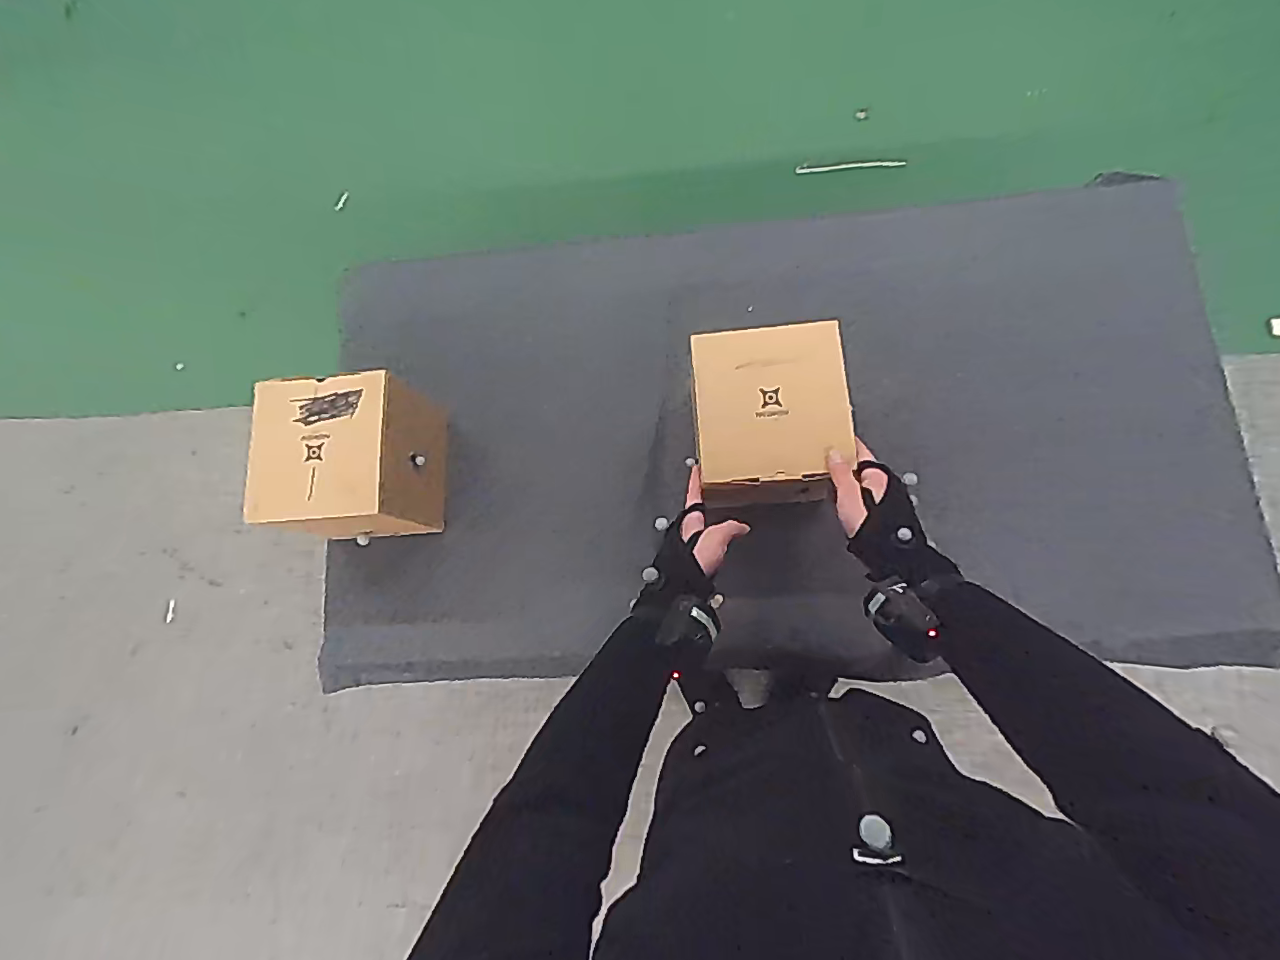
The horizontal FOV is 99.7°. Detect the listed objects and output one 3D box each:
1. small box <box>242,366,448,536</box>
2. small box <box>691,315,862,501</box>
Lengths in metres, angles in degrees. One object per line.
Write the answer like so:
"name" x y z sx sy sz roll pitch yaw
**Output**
"small box" -0.362 -0.028 0.697 0.168 0.176 0.179 -4 77 5
"small box" 0.151 -0.073 0.656 0.168 0.176 0.179 -5 77 4
